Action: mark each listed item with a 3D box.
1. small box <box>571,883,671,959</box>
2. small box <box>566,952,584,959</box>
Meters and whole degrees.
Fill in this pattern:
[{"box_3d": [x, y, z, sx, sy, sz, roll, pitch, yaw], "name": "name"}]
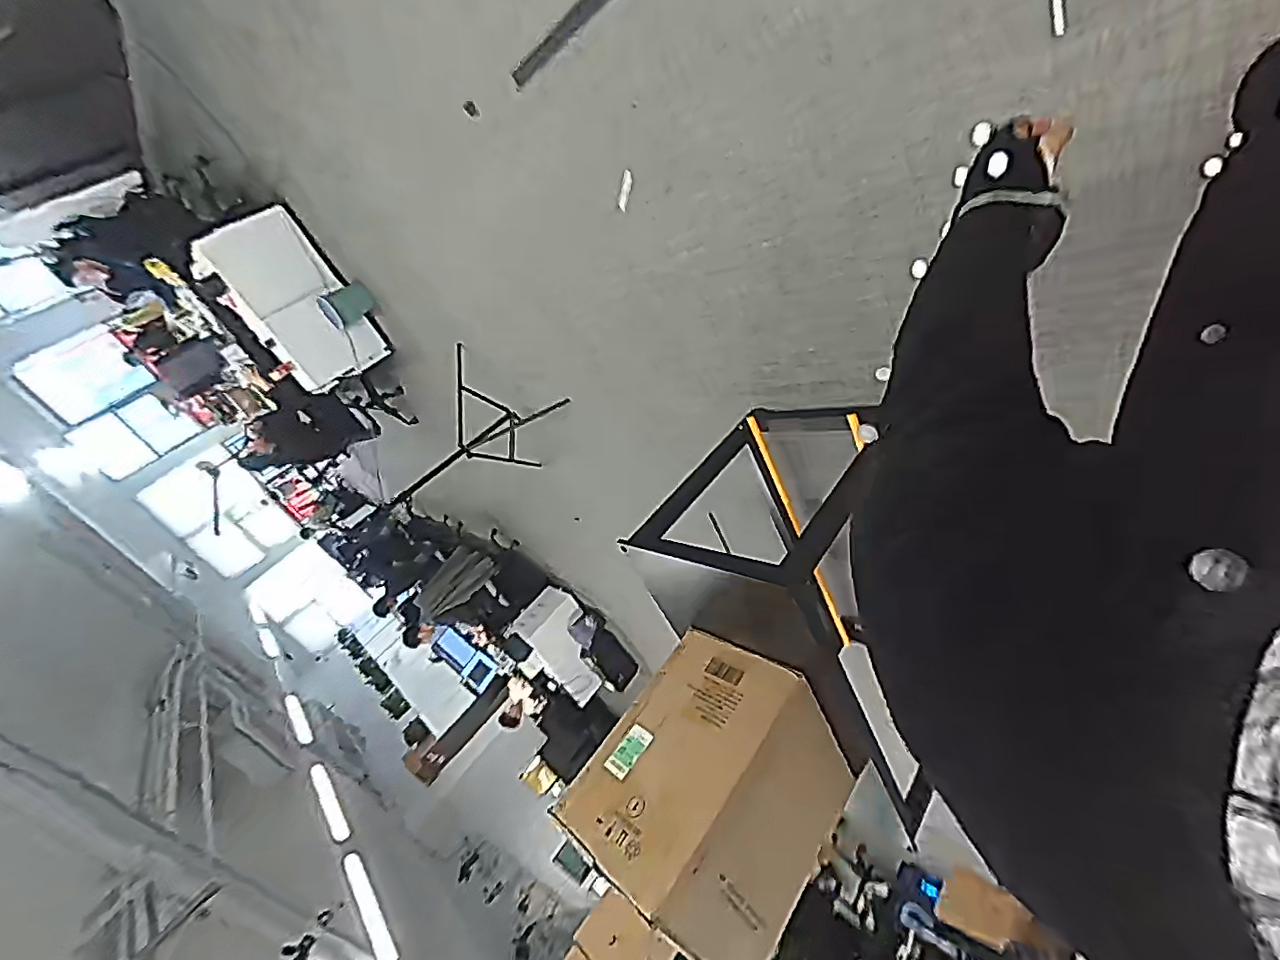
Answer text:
[{"box_3d": [-0.041, 1.219, 1.419, 0.179, 0.176, 0.168, 7, 133, 50], "name": "small box"}, {"box_3d": [-0.137, 1.319, 1.330, 0.179, 0.176, 0.168, 9, 136, 49], "name": "small box"}]
